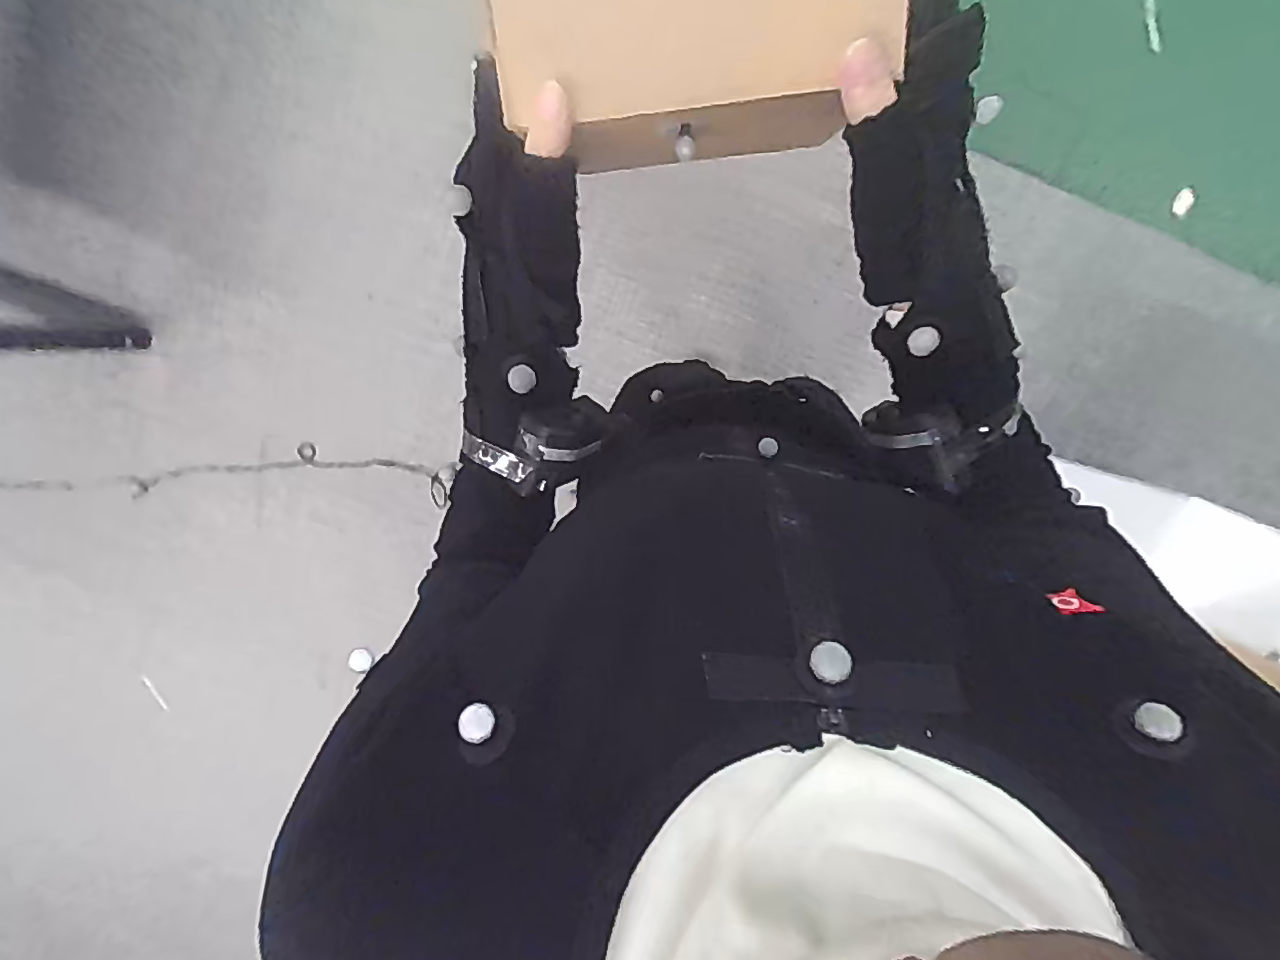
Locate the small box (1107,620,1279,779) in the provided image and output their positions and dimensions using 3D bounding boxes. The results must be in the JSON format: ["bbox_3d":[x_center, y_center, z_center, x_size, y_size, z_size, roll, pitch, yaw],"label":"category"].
[{"bbox_3d":[0.833,0.330,0.767,0.168,0.176,0.179,24,105,-2],"label":"small box"}]

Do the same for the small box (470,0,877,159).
[{"bbox_3d":[0.015,-0.282,0.284,0.179,0.176,0.168,-4,113,8],"label":"small box"}]
